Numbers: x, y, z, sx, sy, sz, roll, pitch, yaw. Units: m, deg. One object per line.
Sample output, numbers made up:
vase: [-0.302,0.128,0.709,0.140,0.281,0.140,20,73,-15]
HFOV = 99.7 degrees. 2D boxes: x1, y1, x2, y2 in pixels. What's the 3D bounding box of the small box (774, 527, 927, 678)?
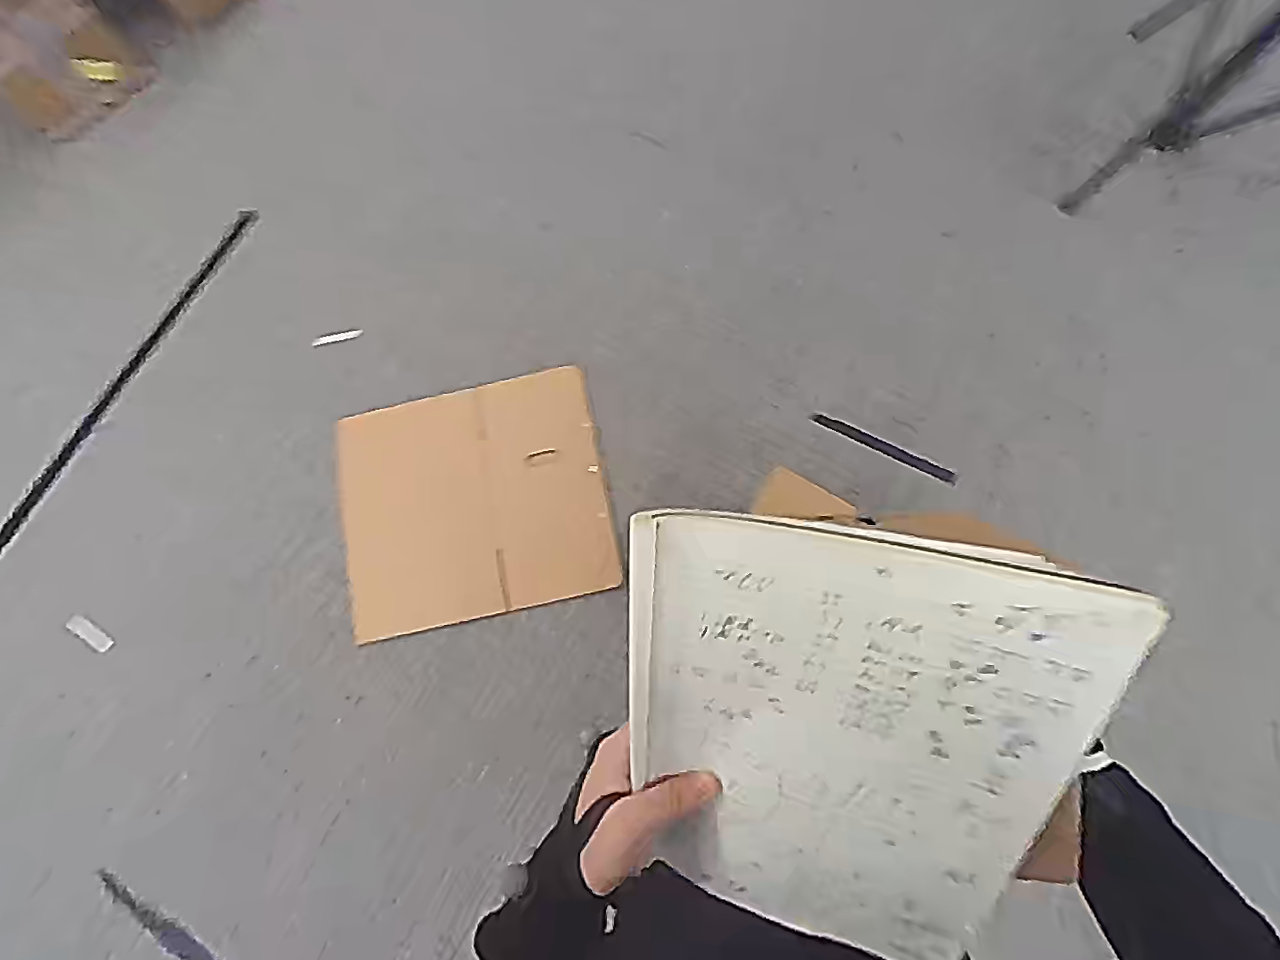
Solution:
small box: [0.334,0.199,0.897,0.168,0.176,0.179,26,81,10]
